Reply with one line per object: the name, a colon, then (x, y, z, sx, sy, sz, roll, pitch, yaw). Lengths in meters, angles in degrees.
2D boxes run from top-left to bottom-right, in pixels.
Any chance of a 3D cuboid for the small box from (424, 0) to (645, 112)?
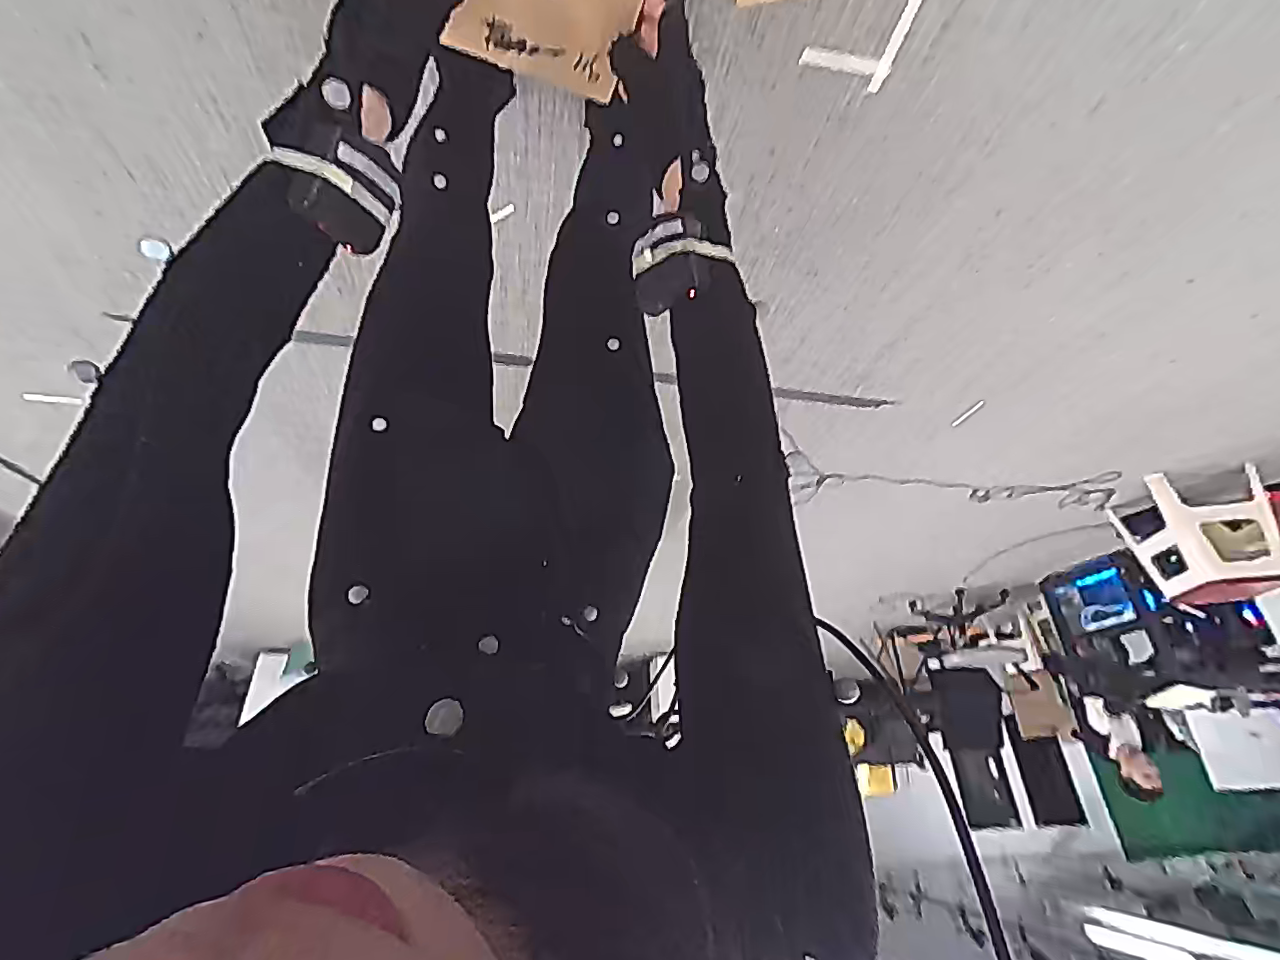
small box: (-0.078, -0.466, 0.445, 0.168, 0.176, 0.179, 8, 155, -21)
